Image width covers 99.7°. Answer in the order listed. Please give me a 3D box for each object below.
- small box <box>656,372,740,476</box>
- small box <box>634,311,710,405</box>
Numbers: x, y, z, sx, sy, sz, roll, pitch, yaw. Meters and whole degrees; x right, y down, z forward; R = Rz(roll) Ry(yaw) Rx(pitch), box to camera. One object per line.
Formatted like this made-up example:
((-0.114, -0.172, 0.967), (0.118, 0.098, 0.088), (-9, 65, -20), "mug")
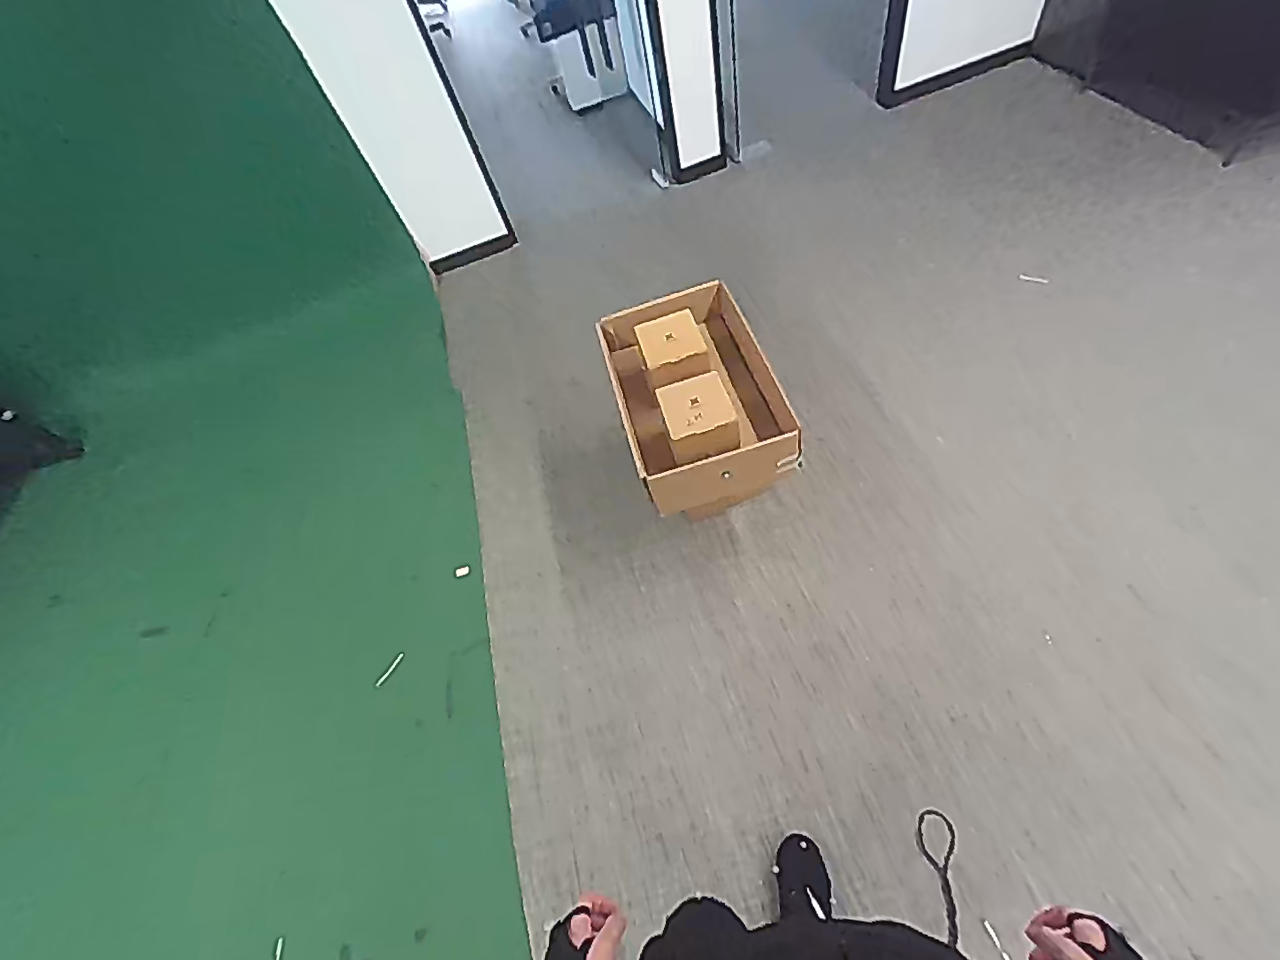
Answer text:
((0.149, -0.139, 1.380), (0.168, 0.176, 0.179), (-18, 54, 3), "small box")
((0.094, -0.338, 1.531), (0.168, 0.176, 0.179), (-19, 56, 1), "small box")
